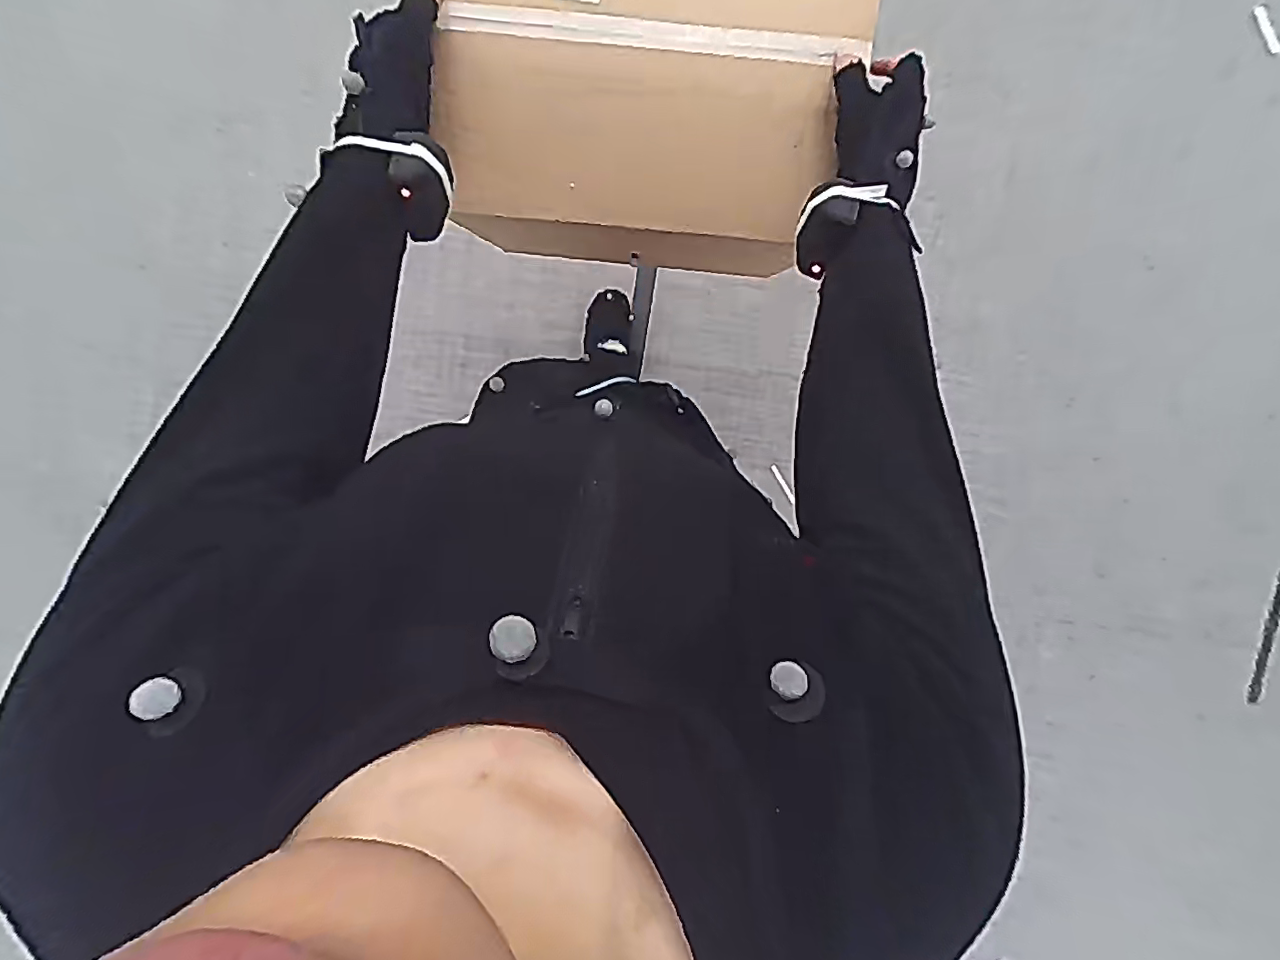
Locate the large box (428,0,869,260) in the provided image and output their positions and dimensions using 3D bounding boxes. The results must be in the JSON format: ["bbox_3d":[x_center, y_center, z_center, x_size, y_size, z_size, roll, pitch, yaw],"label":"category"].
[{"bbox_3d":[0.008,-0.449,0.635,0.408,0.320,0.320,5,105,-1],"label":"large box"}]
